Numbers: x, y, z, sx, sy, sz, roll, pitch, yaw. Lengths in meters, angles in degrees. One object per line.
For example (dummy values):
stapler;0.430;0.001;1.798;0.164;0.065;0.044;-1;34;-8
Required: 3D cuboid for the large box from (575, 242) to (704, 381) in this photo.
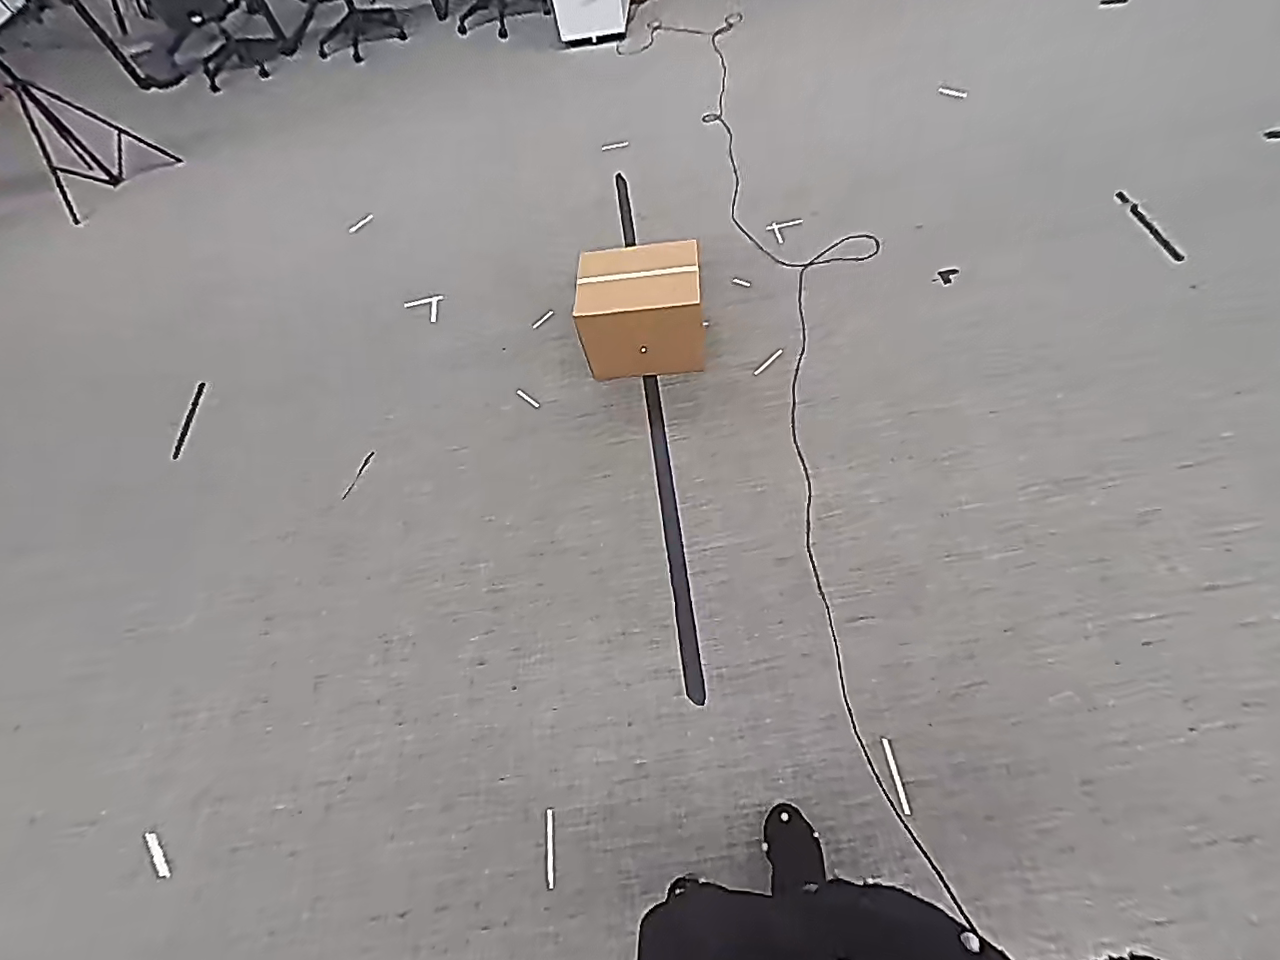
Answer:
large box;0.010;-0.573;1.874;0.408;0.320;0.320;-4;60;8
